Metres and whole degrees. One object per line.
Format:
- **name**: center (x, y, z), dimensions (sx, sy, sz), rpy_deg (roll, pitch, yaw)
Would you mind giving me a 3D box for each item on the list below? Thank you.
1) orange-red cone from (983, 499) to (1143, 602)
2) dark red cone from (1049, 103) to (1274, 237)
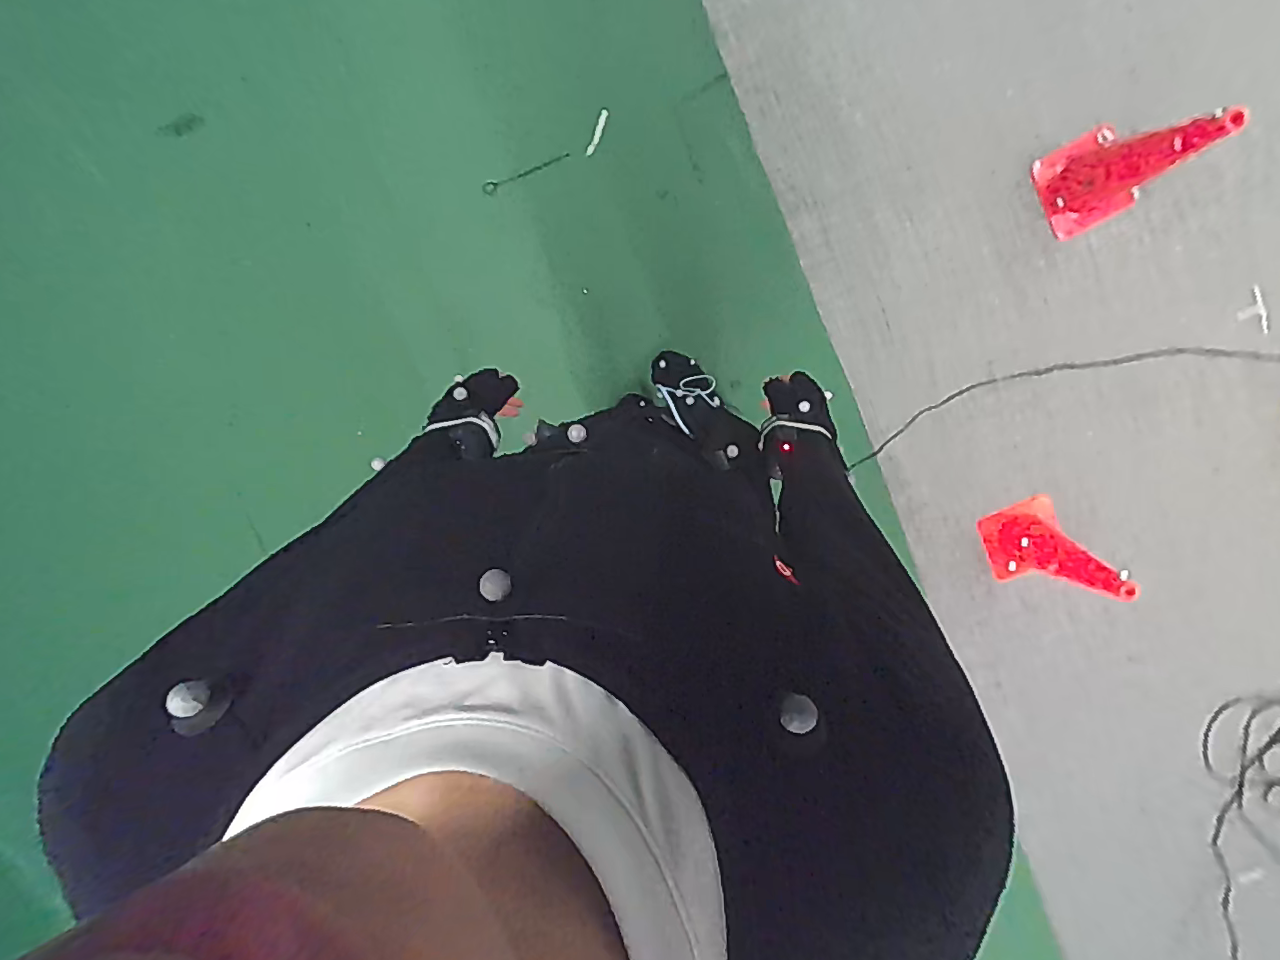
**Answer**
- **orange-red cone**: center (1.052, 0.202, 1.314), dimensions (0.199, 0.360, 0.198), rpy_deg (-23, 101, 6)
- **dark red cone**: center (1.066, -0.666, 1.103), dimensions (0.201, 0.394, 0.202), rpy_deg (-29, 99, 9)
